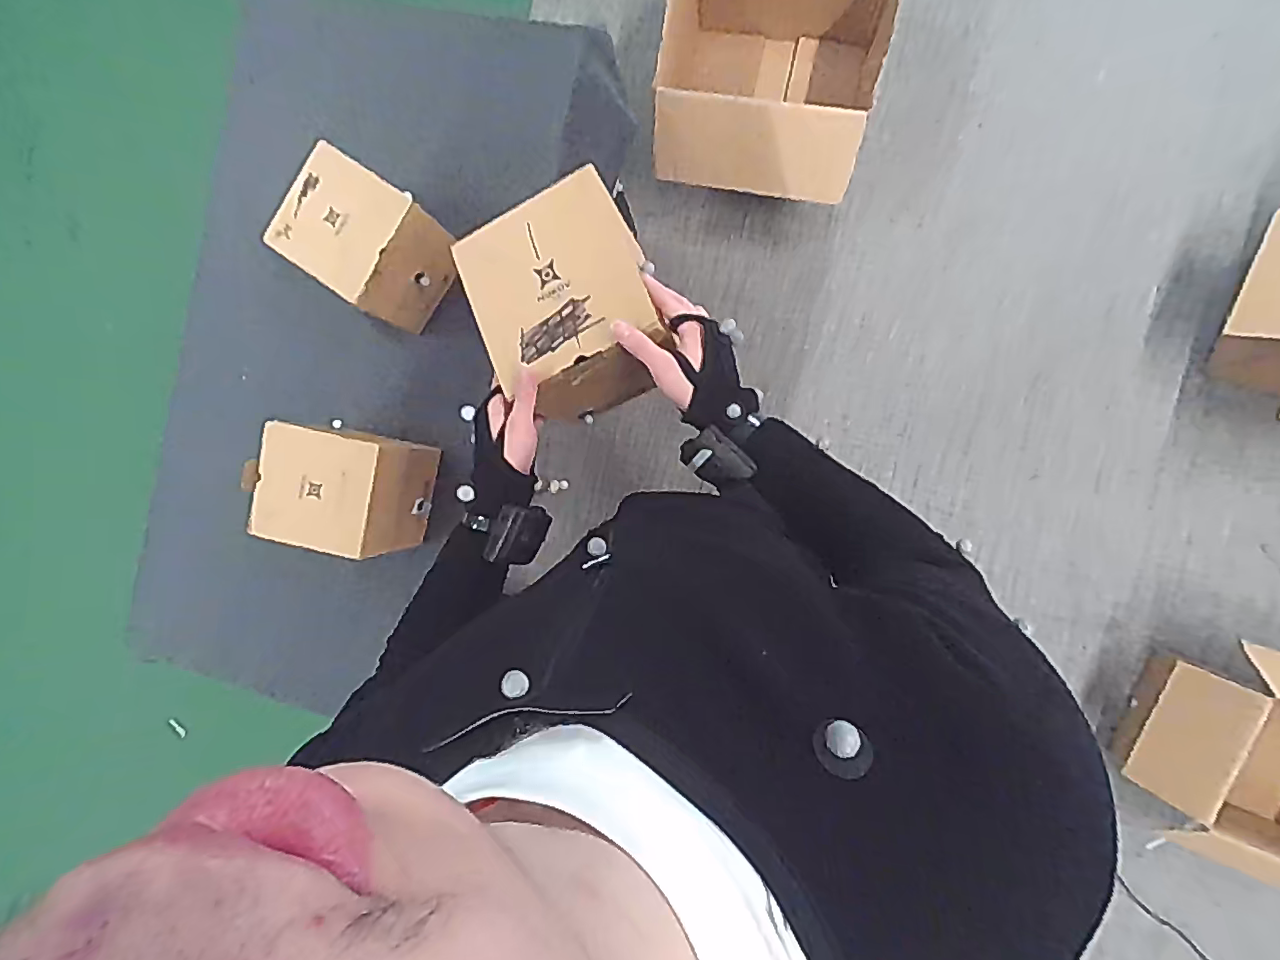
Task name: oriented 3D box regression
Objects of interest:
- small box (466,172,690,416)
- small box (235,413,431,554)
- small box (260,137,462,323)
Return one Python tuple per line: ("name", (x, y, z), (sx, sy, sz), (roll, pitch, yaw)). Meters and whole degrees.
("small box", (-0.056, -0.183, 0.600), (0.168, 0.176, 0.179), (-23, 80, 11))
("small box", (-0.447, 0.005, 0.809), (0.179, 0.176, 0.168), (12, 92, 7))
("small box", (-0.407, -0.360, 0.821), (0.179, 0.176, 0.168), (36, 94, 5))
